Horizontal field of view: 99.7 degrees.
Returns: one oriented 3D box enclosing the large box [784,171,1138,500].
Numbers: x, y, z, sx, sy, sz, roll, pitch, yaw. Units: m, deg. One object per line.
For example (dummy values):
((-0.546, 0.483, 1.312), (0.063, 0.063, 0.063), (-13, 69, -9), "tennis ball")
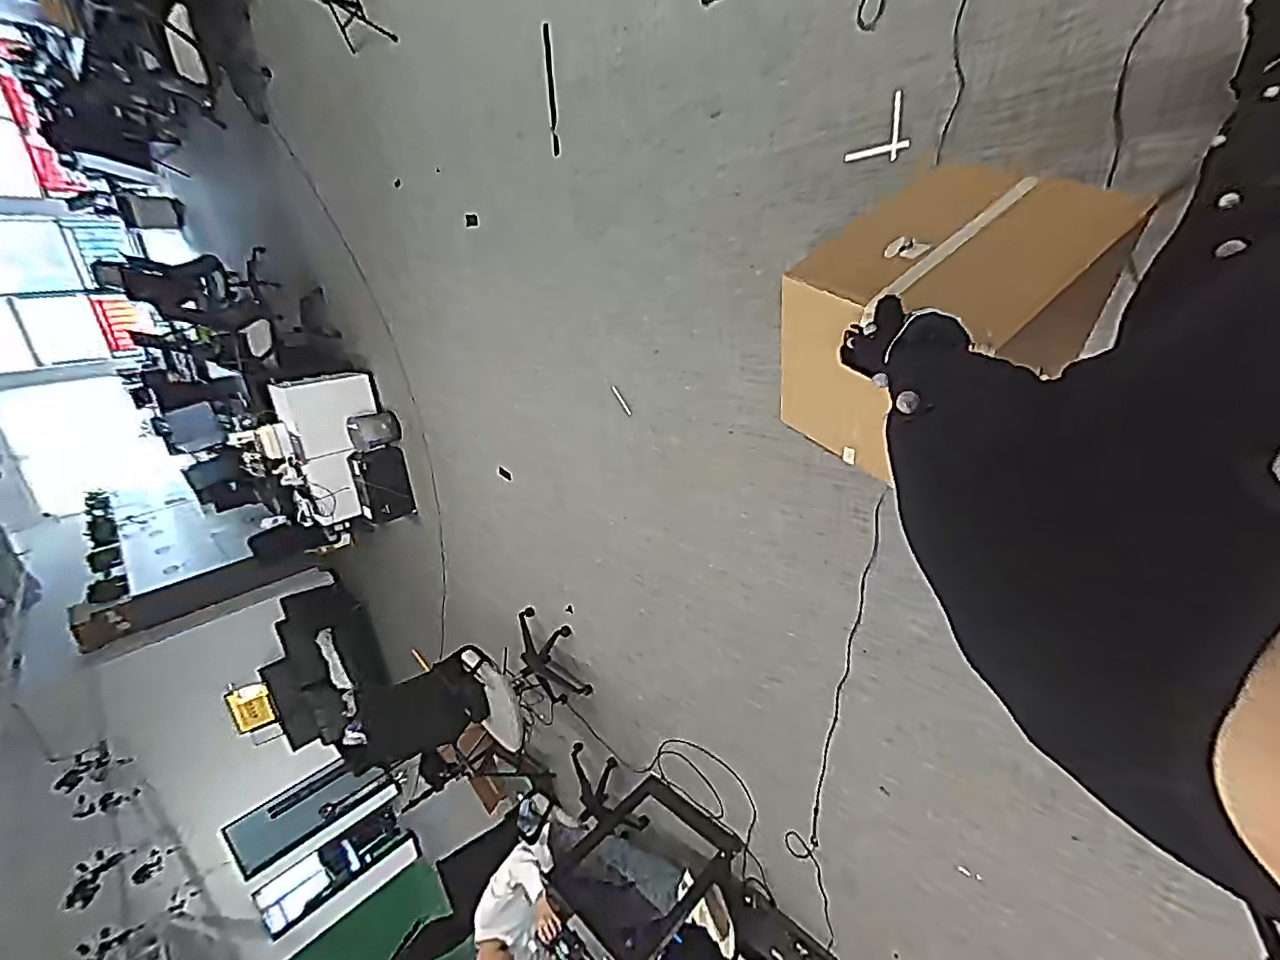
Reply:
((0.488, -0.248, 0.900), (0.320, 0.408, 0.320), (40, 159, 38), "large box")
